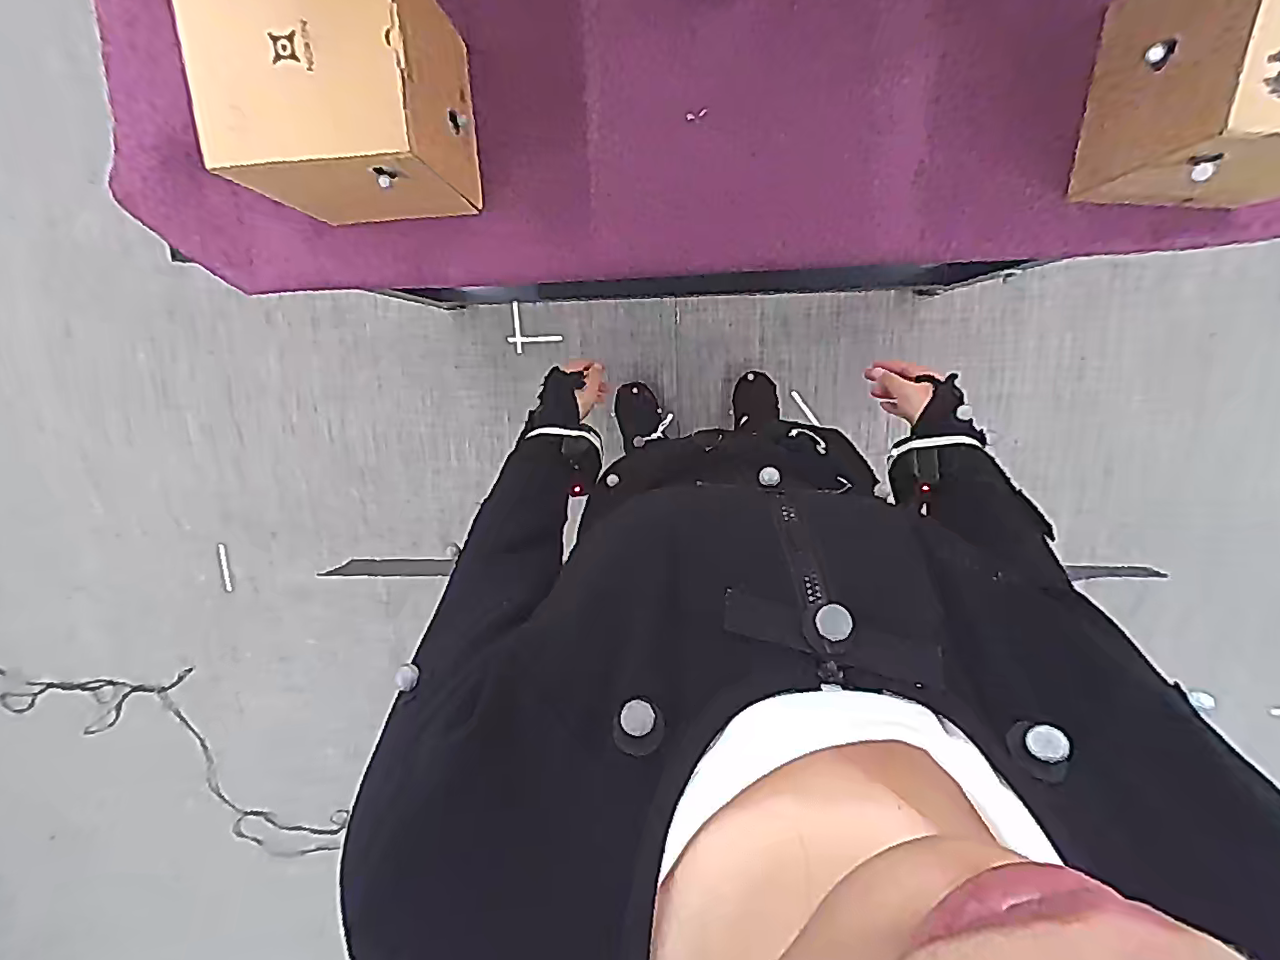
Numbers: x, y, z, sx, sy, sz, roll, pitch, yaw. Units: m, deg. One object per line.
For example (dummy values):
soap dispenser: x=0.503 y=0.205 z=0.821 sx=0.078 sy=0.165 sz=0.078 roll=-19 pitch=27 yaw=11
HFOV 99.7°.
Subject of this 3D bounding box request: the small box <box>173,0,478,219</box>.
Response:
small box: x=-0.271 y=-0.355 z=0.500 sx=0.179 sy=0.176 sz=0.168 roll=-4 pitch=101 yaw=3
